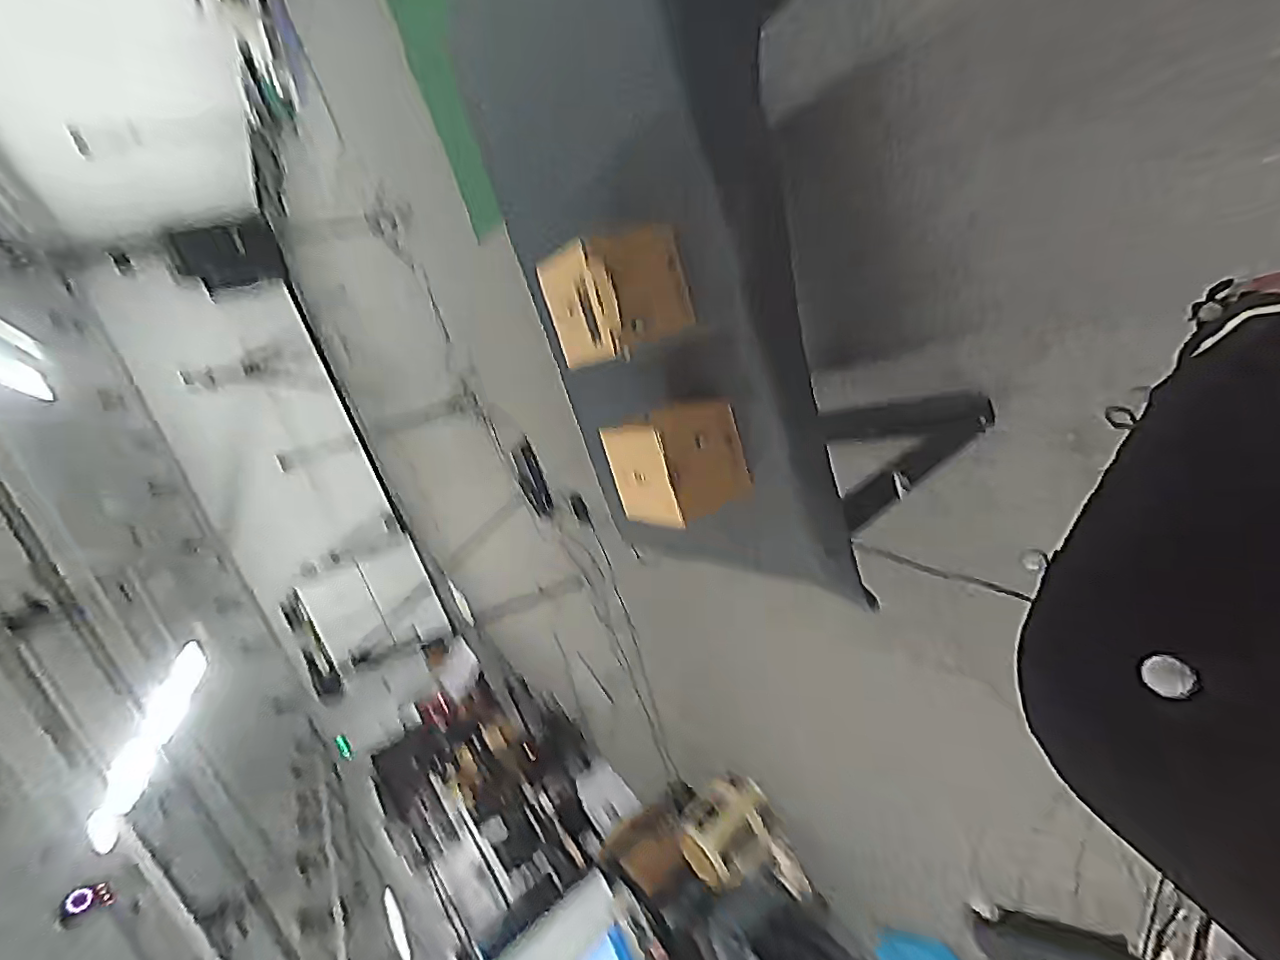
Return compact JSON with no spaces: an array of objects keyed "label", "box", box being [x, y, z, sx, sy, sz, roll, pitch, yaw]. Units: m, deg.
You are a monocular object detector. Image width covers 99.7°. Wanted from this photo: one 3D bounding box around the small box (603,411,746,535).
[{"label":"small box","box":[0.067,-0.019,0.958,0.179,0.176,0.168,4,115,57]}]
